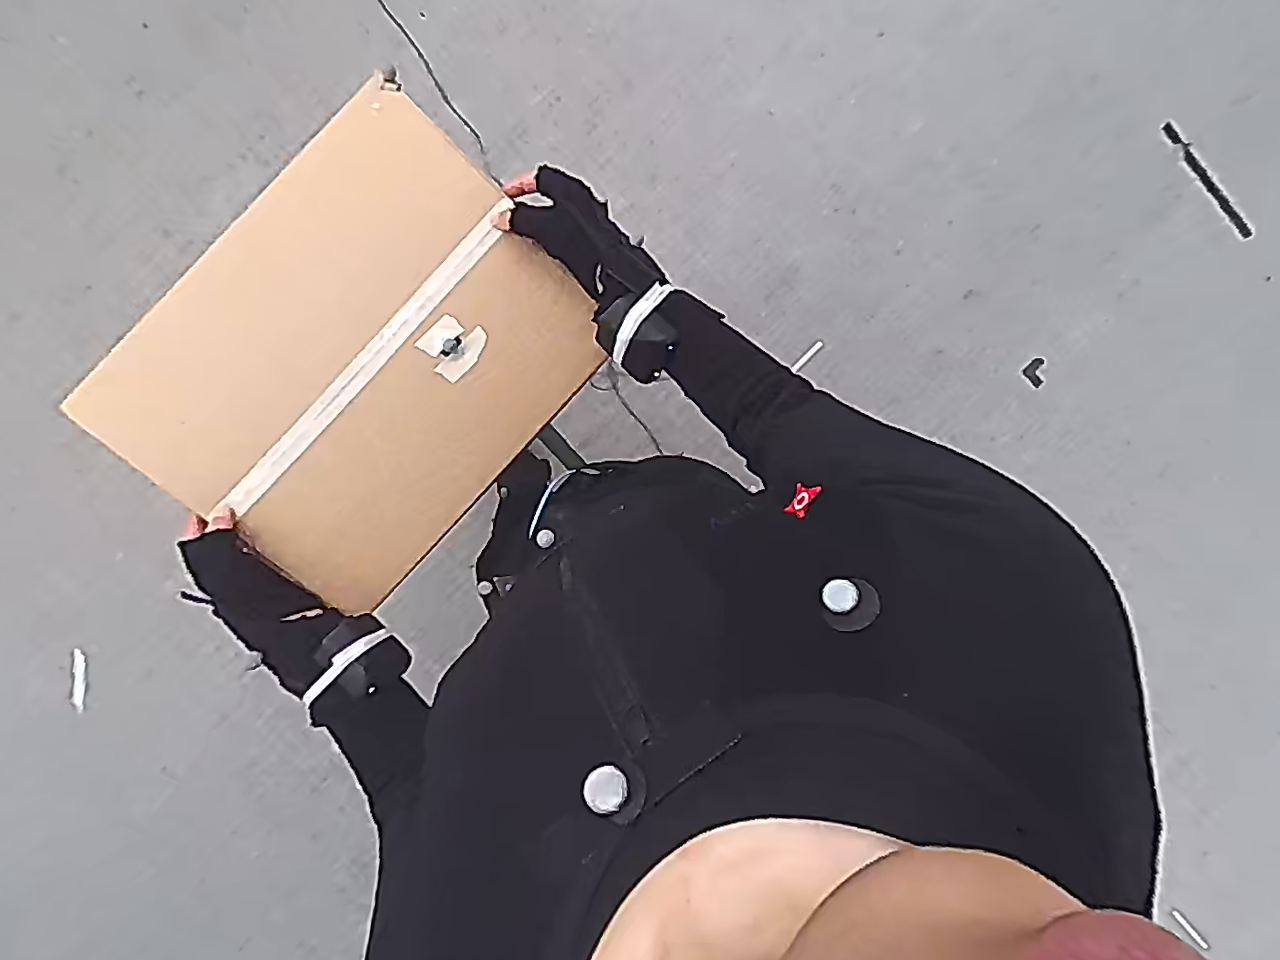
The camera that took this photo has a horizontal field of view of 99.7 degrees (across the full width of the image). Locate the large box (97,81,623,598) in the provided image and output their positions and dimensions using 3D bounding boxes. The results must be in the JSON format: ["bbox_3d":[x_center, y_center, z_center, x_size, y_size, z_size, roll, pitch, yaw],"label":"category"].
[{"bbox_3d":[-0.280,-0.139,0.668,0.320,0.320,0.408,43,89,-12],"label":"large box"}]
